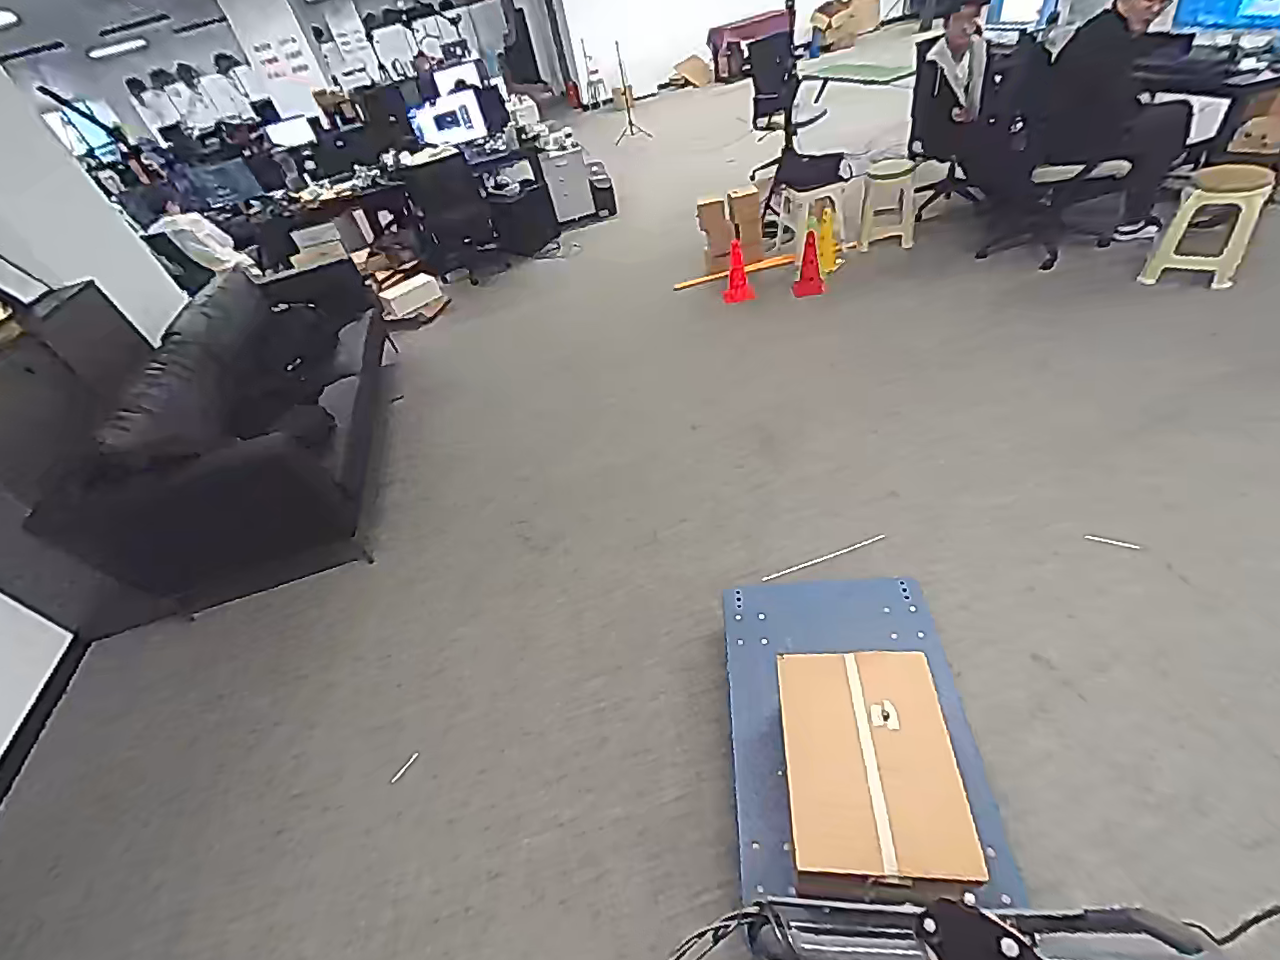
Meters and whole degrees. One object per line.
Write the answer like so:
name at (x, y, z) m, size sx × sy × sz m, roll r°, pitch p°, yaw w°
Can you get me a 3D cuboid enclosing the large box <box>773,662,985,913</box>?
large box at (0.470, 0.654, 1.163) m, size 0.320 × 0.320 × 0.408 m, roll -4°, pitch 45°, yaw 11°
